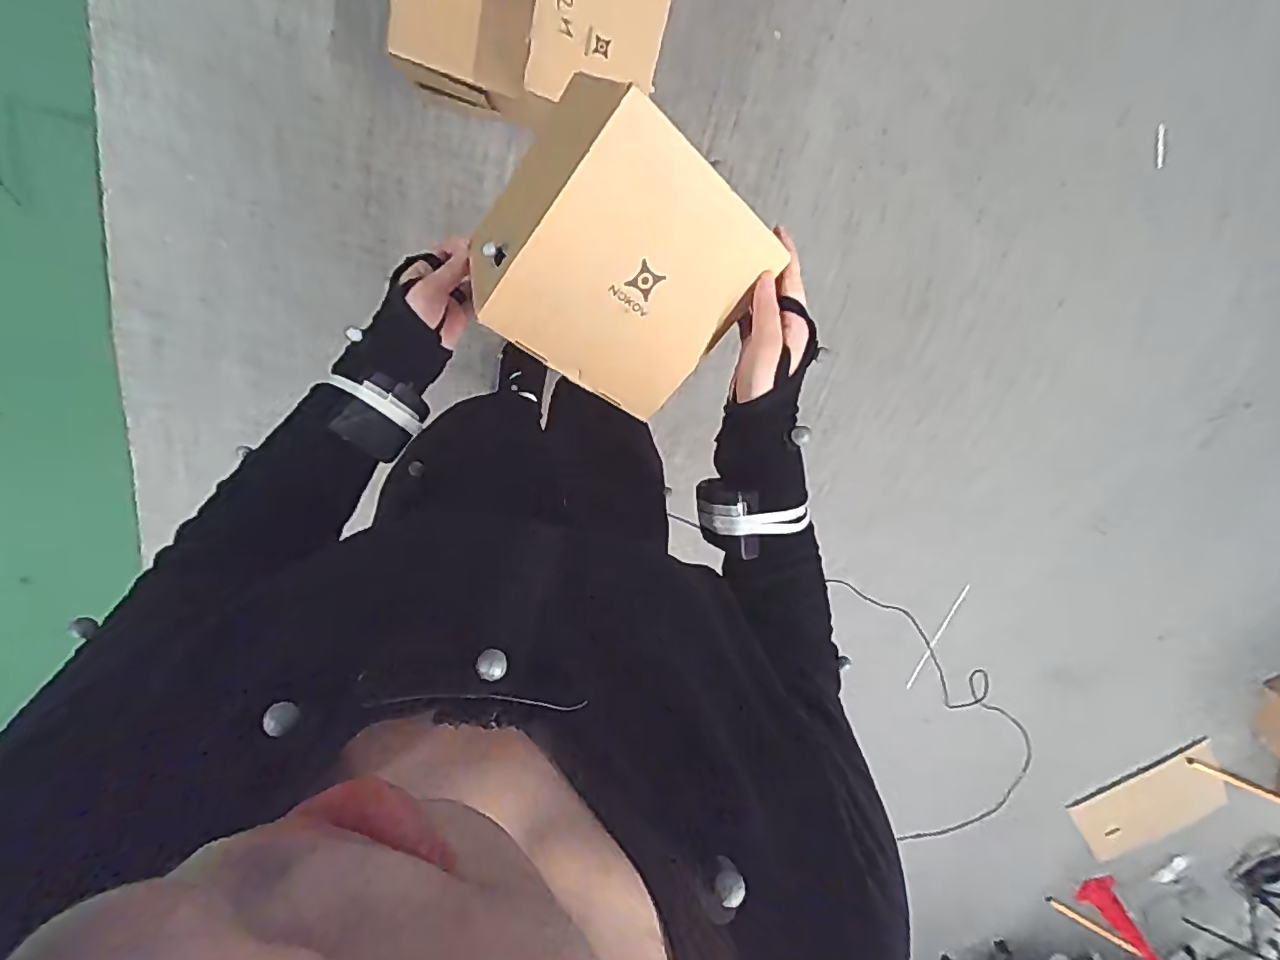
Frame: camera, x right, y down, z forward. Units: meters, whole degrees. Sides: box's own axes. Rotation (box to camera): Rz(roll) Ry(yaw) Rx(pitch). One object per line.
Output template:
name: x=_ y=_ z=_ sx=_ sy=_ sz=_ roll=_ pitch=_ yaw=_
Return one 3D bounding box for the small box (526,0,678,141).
small box: x=-0.064 y=-0.631 z=0.809 sx=0.179 sy=0.176 sz=0.168 roll=13 pitch=112 yaw=-14
